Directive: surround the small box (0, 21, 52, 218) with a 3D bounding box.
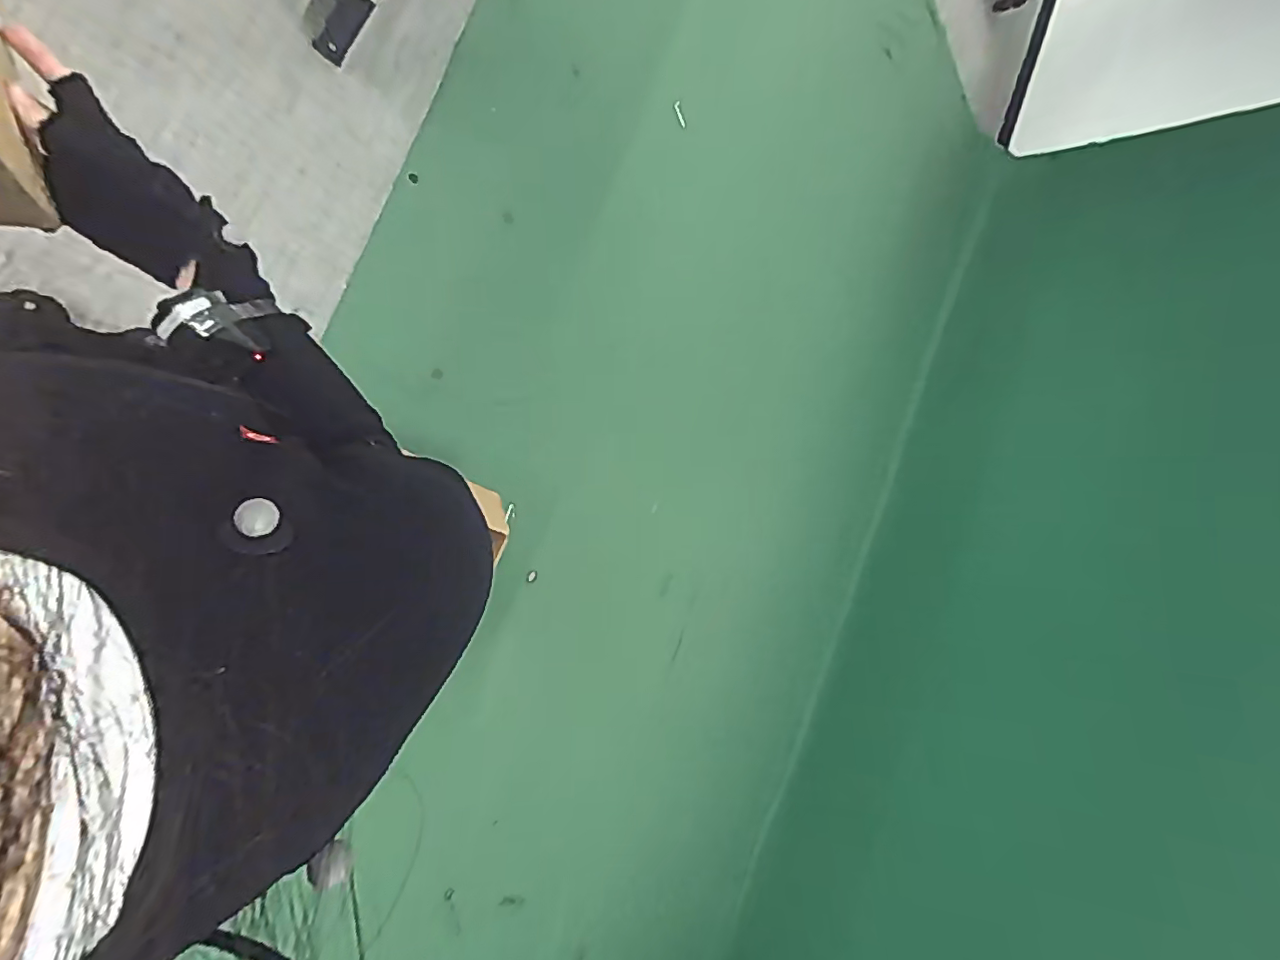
[{"bbox_3d":[-0.446,-0.247,0.268,0.168,0.176,0.179,-15,104,-37],"label":"small box"}]
